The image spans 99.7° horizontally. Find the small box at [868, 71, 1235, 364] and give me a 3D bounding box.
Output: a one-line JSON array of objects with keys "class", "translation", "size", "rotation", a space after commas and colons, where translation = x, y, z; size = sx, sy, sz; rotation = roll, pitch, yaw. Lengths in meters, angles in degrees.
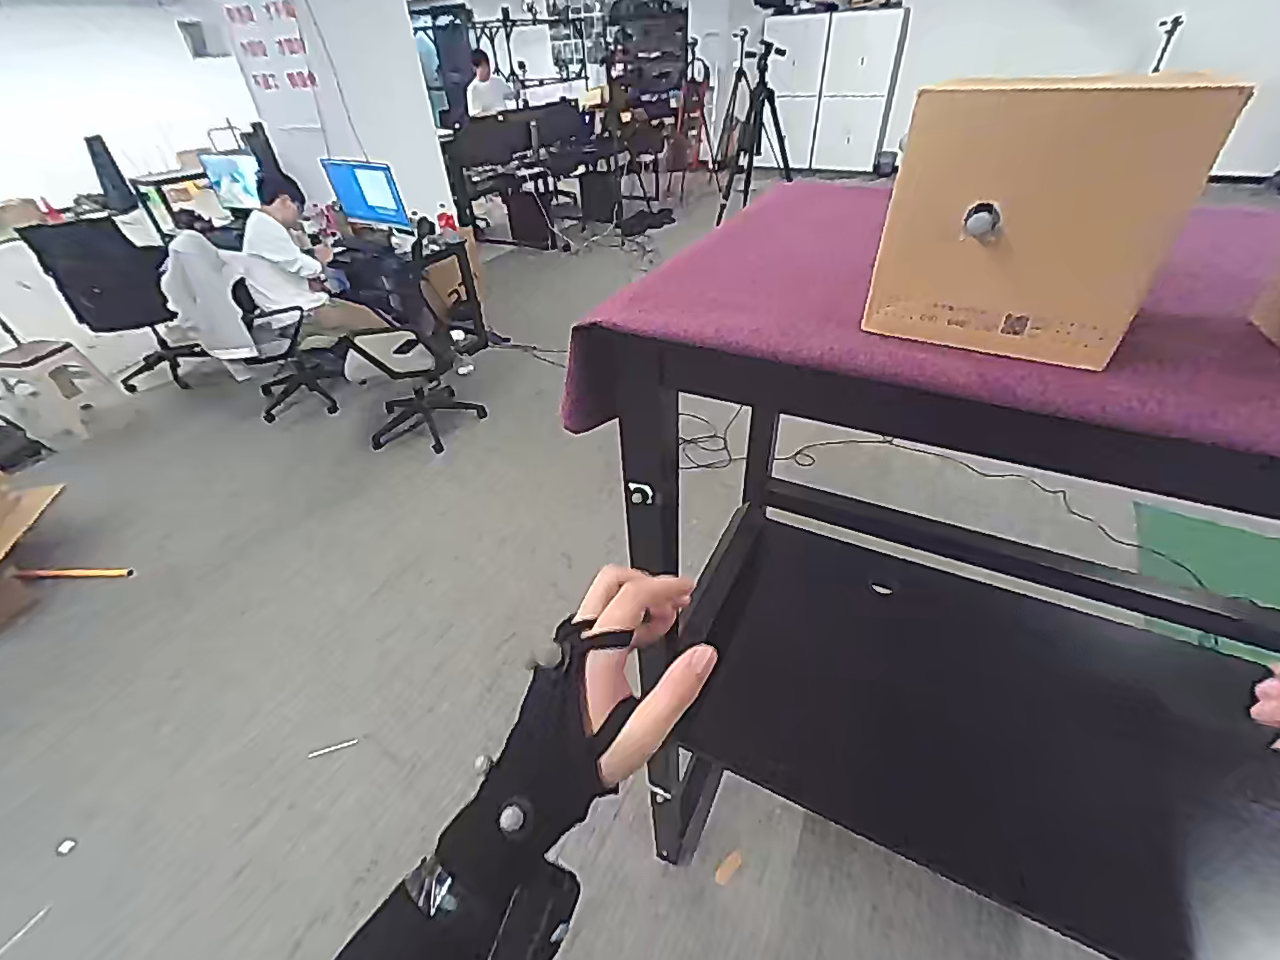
[{"class": "small box", "translation": [0.292, -0.207, 0.423], "size": [0.168, 0.176, 0.179], "rotation": [18, 42, 25]}]
